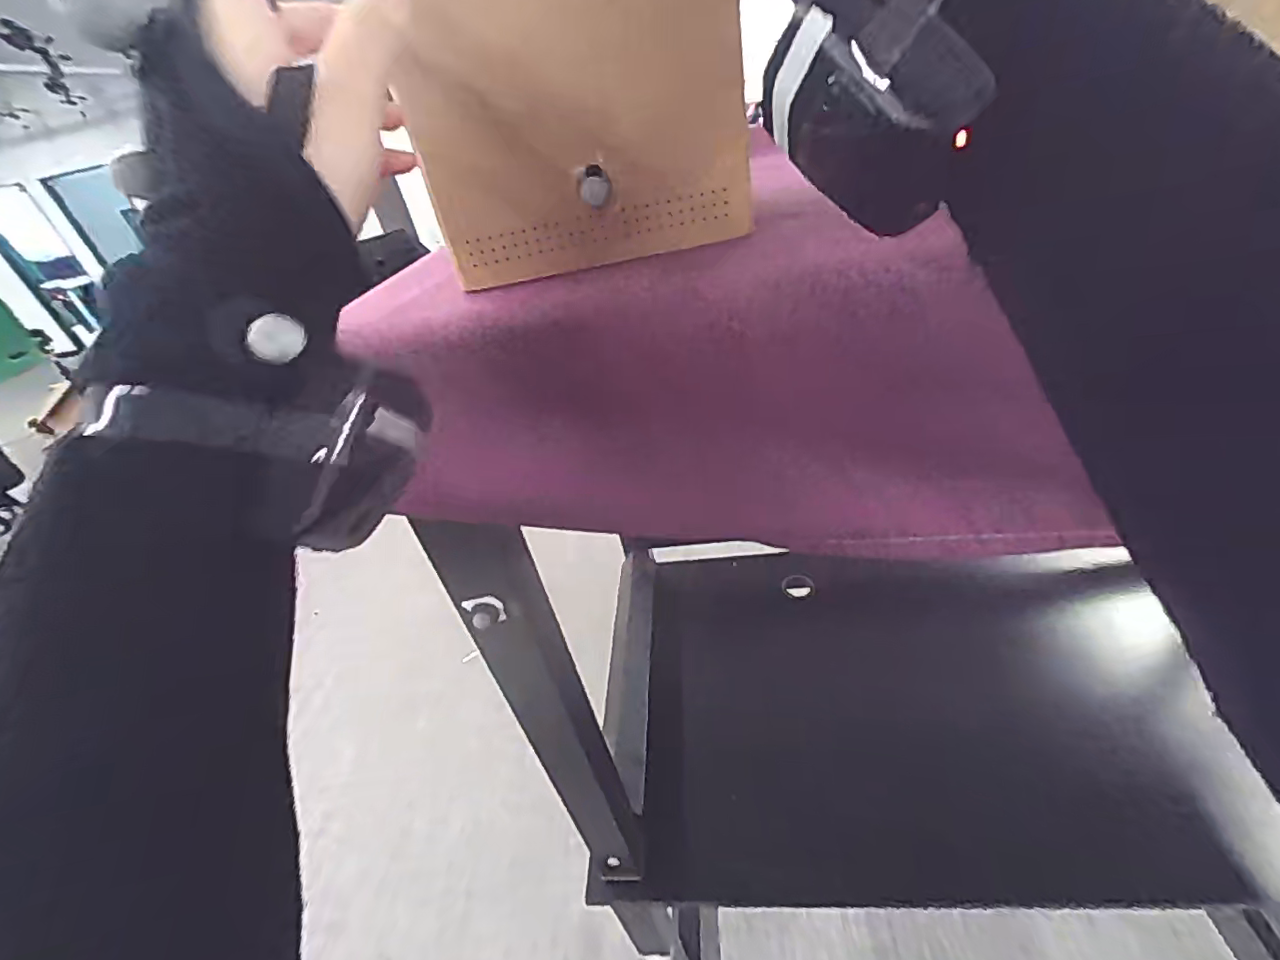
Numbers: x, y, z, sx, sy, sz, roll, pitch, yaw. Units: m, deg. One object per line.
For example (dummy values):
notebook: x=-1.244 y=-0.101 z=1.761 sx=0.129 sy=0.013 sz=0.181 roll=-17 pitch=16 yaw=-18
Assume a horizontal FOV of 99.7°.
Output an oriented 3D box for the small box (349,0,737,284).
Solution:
small box: x=-0.044 y=-0.234 z=0.323 sx=0.179 sy=0.176 sz=0.168 roll=-11 pitch=34 yaw=0
